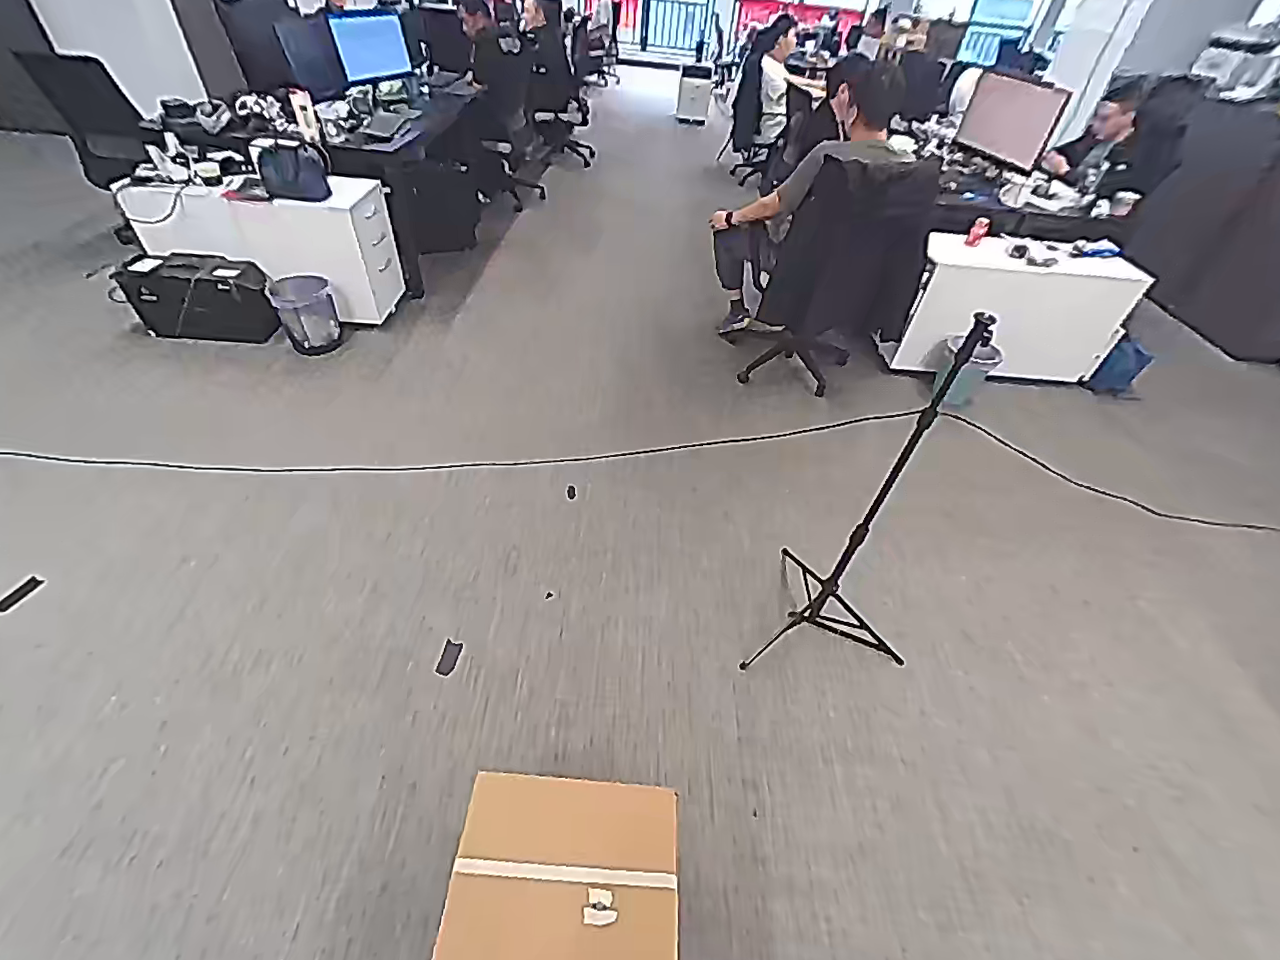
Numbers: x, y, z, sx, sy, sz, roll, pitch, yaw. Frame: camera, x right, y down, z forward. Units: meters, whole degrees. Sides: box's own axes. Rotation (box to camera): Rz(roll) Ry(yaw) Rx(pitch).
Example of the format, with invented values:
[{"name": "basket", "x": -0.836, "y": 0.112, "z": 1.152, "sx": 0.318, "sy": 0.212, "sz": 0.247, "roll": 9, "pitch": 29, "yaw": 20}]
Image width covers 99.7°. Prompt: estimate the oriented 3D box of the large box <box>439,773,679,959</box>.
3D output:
[{"name": "large box", "x": -0.143, "y": 0.818, "z": 1.083, "sx": 0.408, "sy": 0.320, "sz": 0.320, "roll": 6, "pitch": 44, "yaw": -1}]
